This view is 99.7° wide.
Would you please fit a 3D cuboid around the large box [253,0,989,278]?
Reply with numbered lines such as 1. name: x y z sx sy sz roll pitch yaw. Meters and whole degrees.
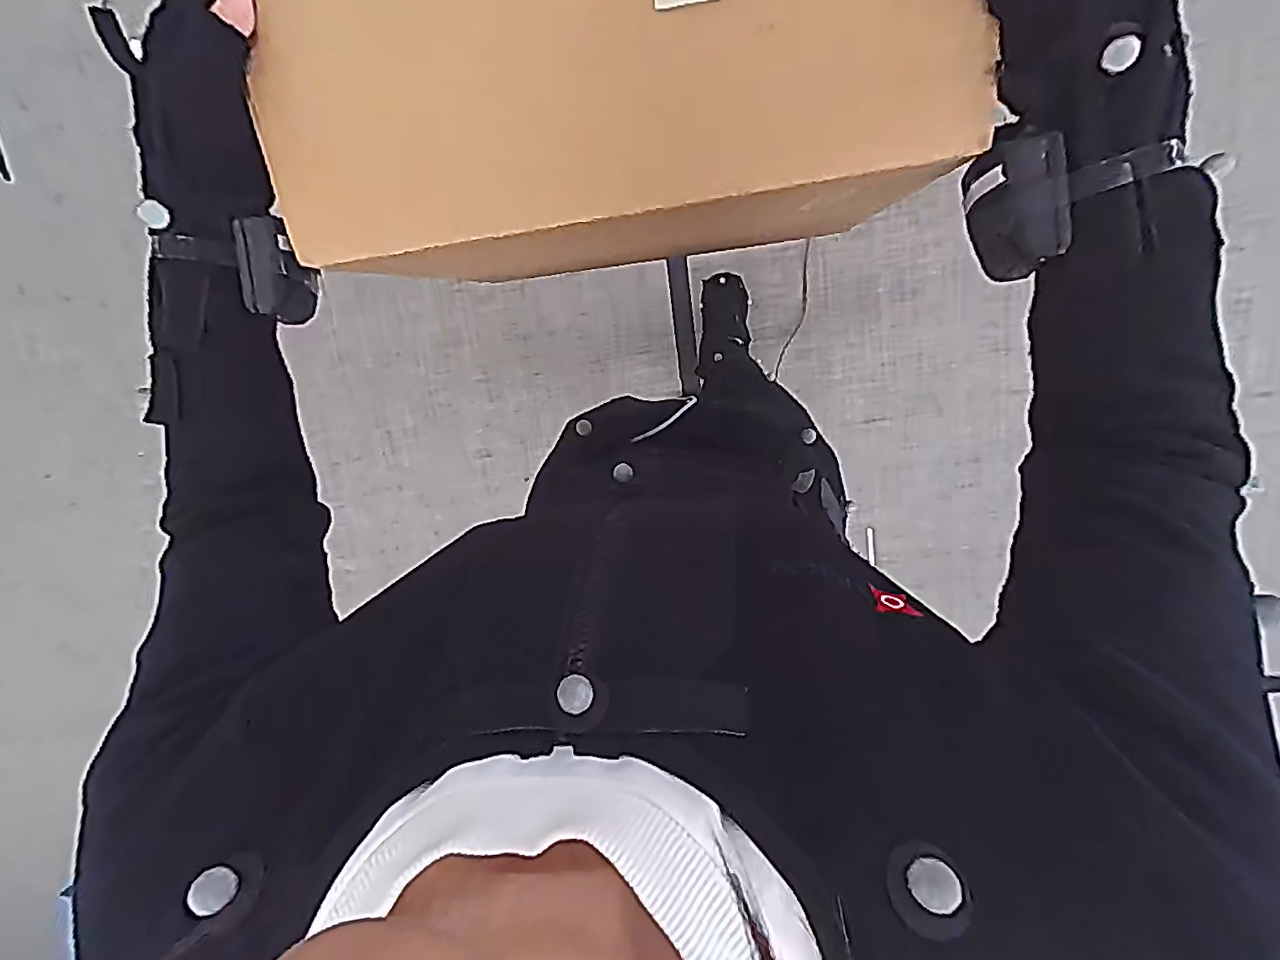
1. large box: -0.014 -0.357 0.420 0.408 0.320 0.320 -6 108 9
